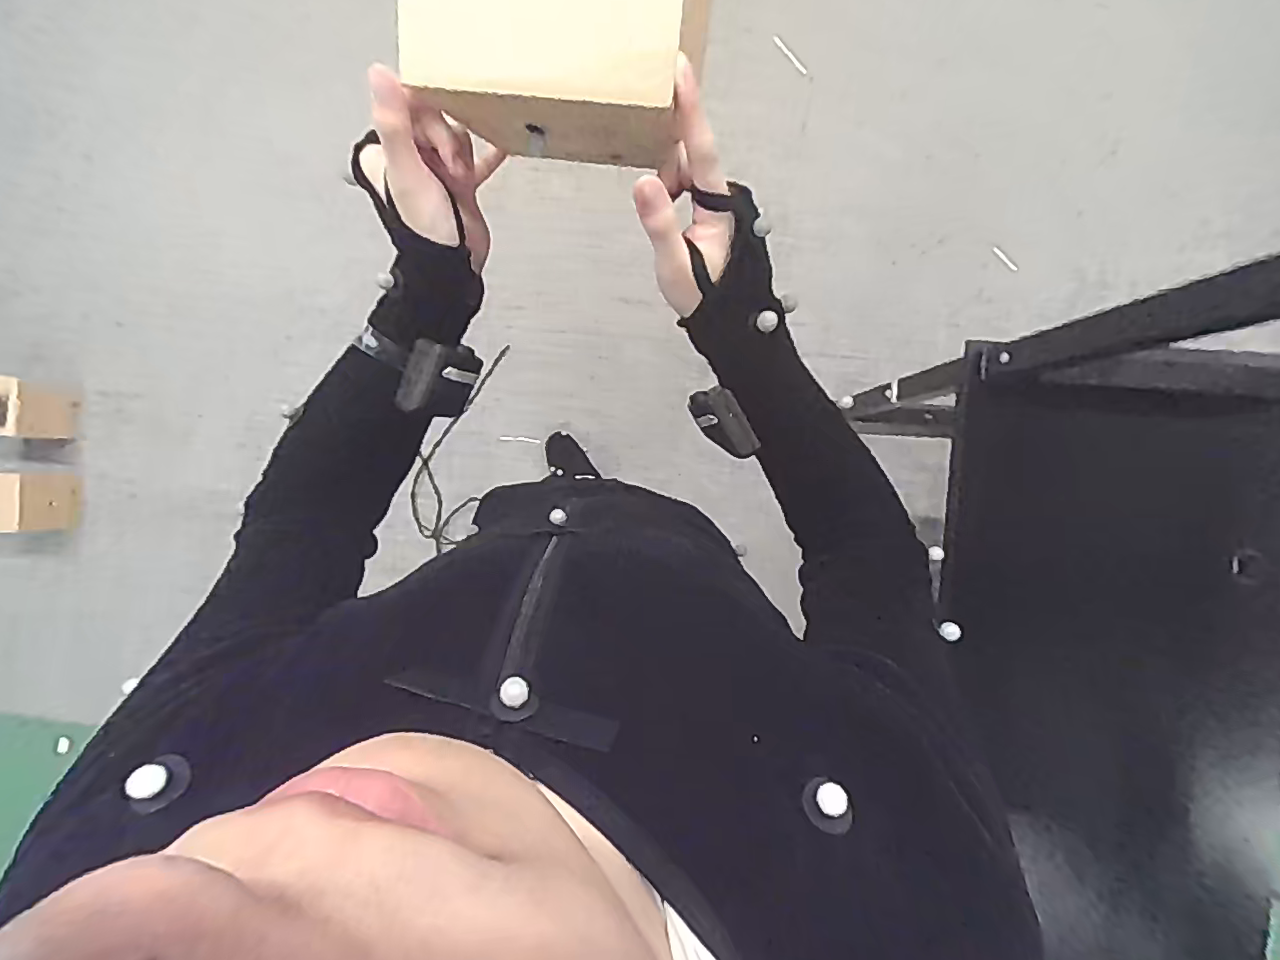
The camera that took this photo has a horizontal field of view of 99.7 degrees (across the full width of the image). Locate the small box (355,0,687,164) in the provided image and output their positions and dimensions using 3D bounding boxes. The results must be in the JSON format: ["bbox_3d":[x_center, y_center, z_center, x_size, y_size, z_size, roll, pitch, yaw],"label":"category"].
[{"bbox_3d":[-0.058,-0.323,0.347,0.168,0.176,0.179,10,110,4],"label":"small box"}]

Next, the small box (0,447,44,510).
[{"bbox_3d":[-1.837,-0.008,1.510,0.179,0.176,0.168,5,92,-1],"label":"small box"}]
